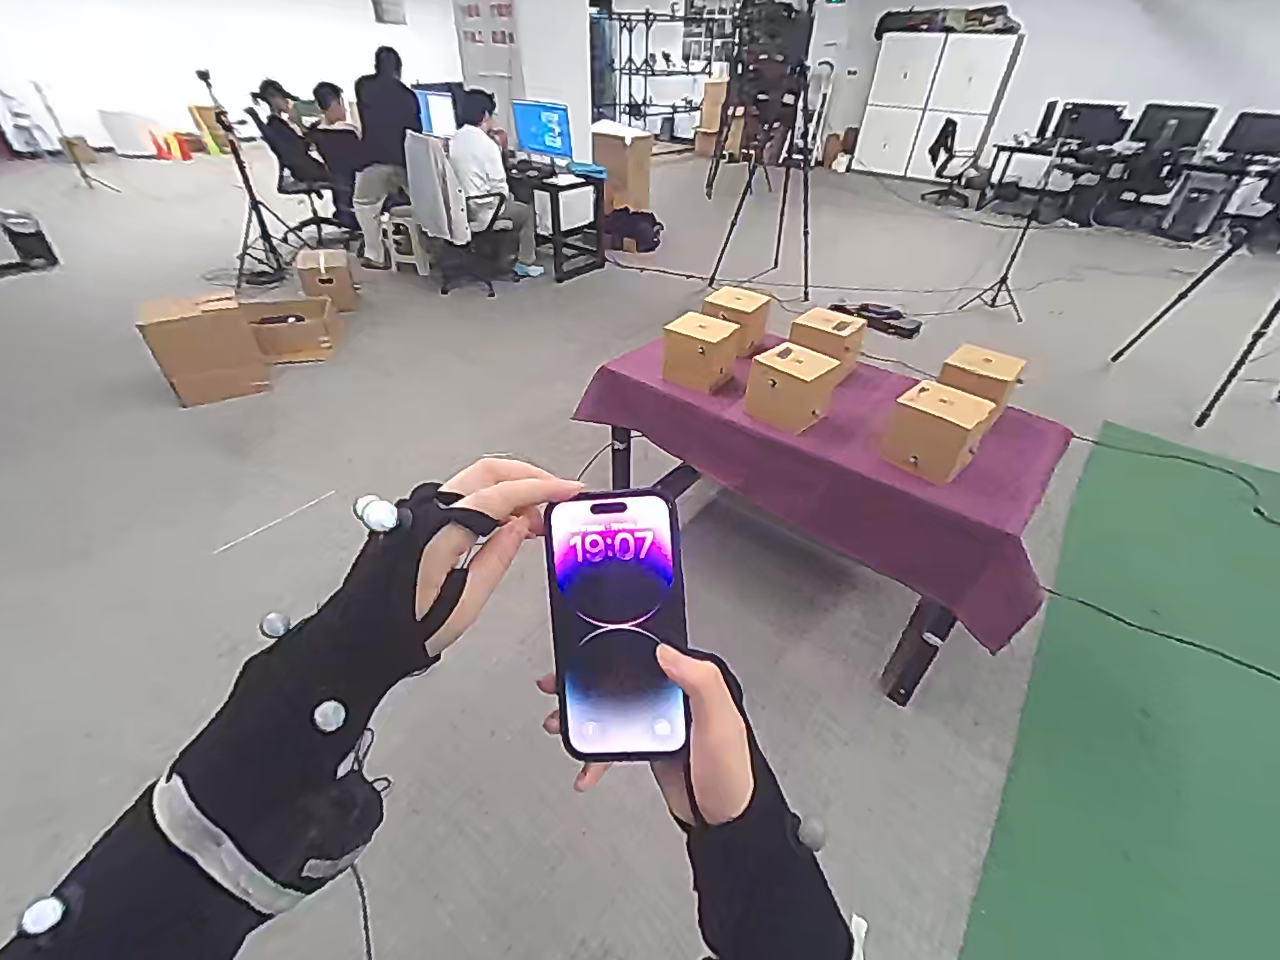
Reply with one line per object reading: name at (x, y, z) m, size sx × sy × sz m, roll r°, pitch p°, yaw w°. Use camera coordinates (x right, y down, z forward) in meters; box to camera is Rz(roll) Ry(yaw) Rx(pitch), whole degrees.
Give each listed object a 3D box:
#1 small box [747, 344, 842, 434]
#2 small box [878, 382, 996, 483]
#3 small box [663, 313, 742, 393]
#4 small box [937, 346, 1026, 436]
small box at (0.417, -0.250, 1.488) m, size 0.168 × 0.176 × 0.179 m, roll -30°, pitch 49°, yaw -34°
small box at (0.723, -0.113, 1.329) m, size 0.168 × 0.176 × 0.179 m, roll -29°, pitch 48°, yaw -34°
small box at (0.185, -0.386, 1.649) m, size 0.179 × 0.176 × 0.168 m, roll 25°, pitch 43°, yaw 24°
small box at (0.935, -0.251, 1.514) m, size 0.168 × 0.176 × 0.179 m, roll 31°, pitch 47°, yaw 32°
